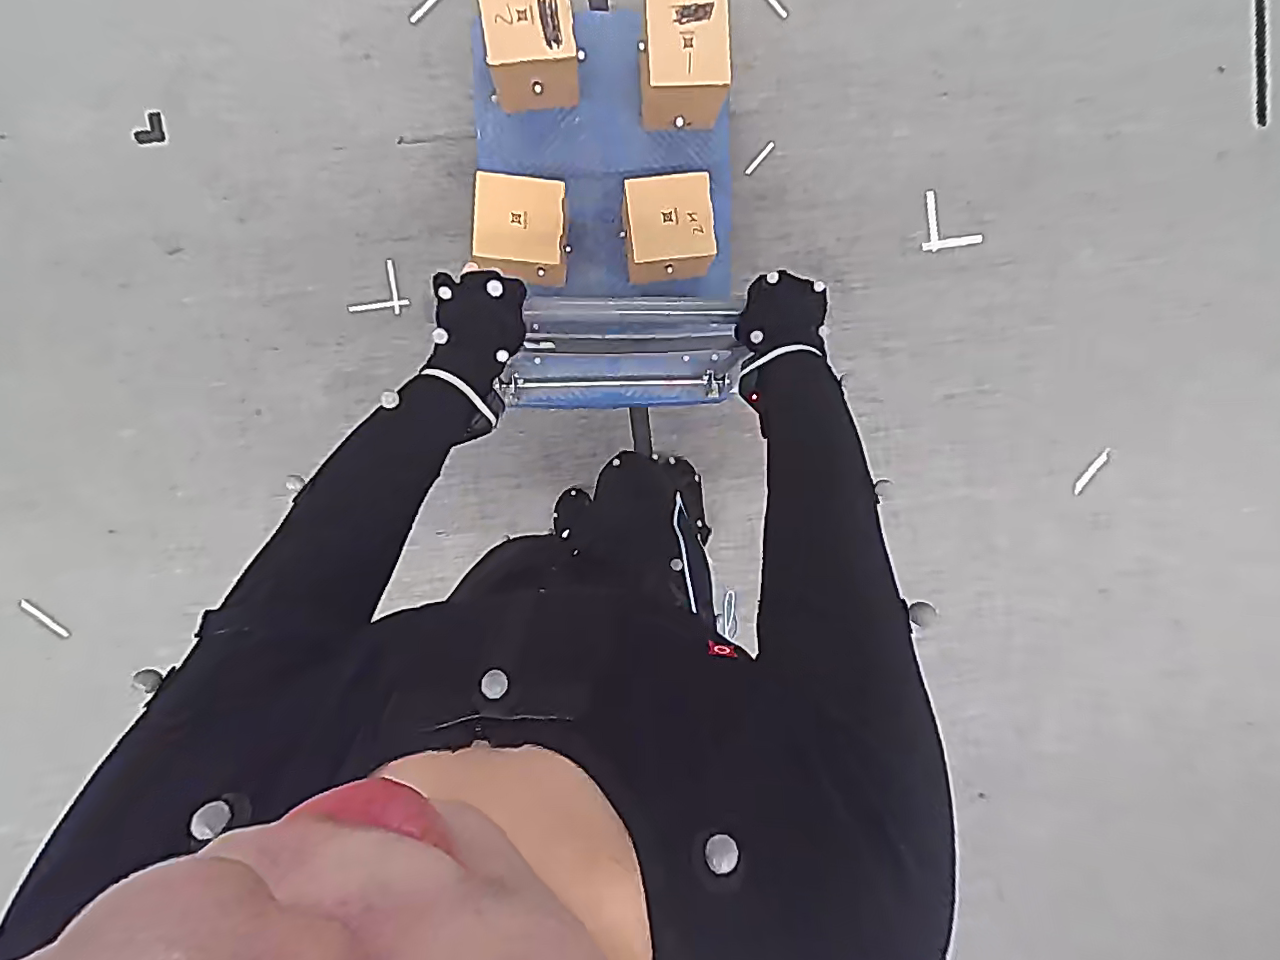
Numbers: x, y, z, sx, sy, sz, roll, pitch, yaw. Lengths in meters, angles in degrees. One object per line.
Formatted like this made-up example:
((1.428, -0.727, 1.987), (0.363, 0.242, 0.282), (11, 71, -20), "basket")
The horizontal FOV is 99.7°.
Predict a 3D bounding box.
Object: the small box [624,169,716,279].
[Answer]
((0.058, -0.550, 1.183), (0.179, 0.176, 0.168), (-7, 96, -4), "small box")

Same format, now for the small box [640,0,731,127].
((0.091, -0.889, 1.151), (0.168, 0.176, 0.179), (-4, 97, -4), "small box")

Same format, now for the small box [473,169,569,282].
((-0.248, -0.537, 1.162), (0.179, 0.176, 0.168), (4, 95, -6), "small box")
